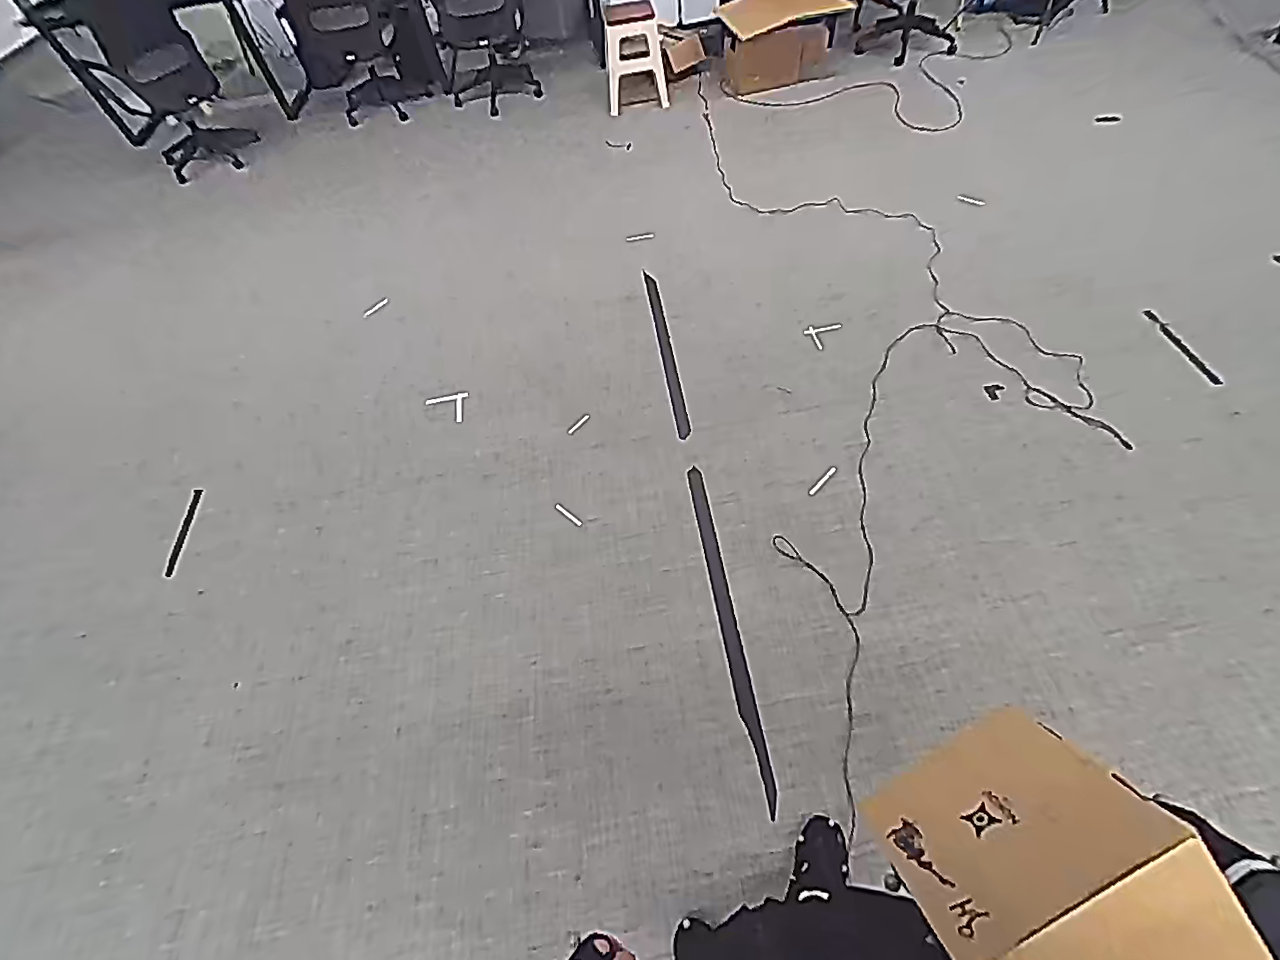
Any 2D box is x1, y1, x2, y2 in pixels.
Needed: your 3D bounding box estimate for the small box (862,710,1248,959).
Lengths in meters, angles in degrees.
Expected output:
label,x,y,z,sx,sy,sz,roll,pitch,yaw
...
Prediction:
label,x,y,z,sx,sy,sz,roll,pitch,yaw
small box,0.328,0.338,0.444,0.179,0.168,0.176,-34,94,2
